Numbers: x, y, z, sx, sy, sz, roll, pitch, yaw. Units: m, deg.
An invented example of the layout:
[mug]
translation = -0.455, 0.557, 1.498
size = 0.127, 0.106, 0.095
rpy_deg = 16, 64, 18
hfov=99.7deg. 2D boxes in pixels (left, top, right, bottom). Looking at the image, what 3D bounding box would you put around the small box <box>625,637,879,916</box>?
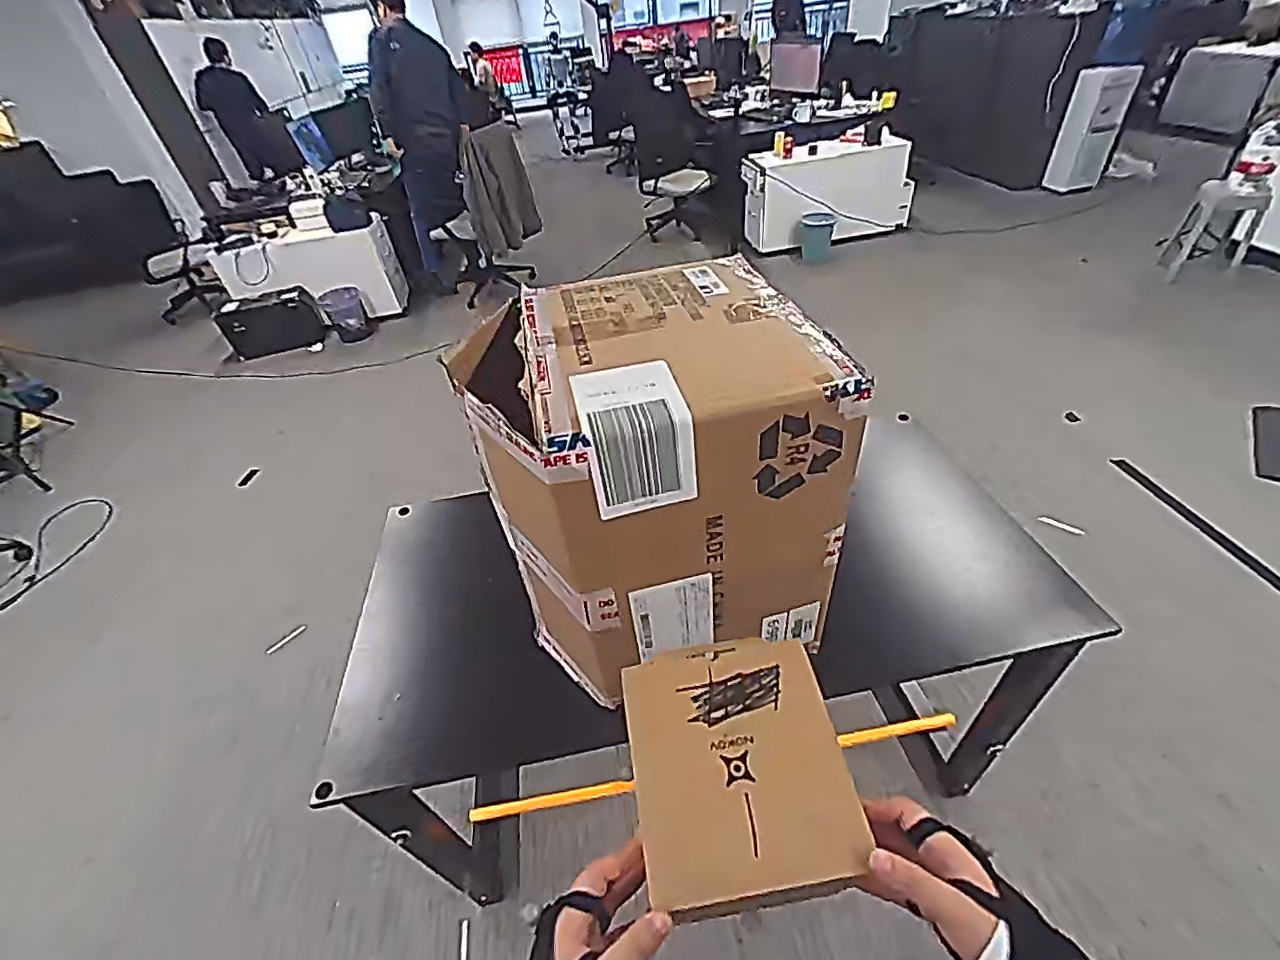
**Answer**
[small box]
translation = 0.081, 0.267, 0.486
size = 0.168, 0.176, 0.179
rpy_deg = -9, 50, -2
